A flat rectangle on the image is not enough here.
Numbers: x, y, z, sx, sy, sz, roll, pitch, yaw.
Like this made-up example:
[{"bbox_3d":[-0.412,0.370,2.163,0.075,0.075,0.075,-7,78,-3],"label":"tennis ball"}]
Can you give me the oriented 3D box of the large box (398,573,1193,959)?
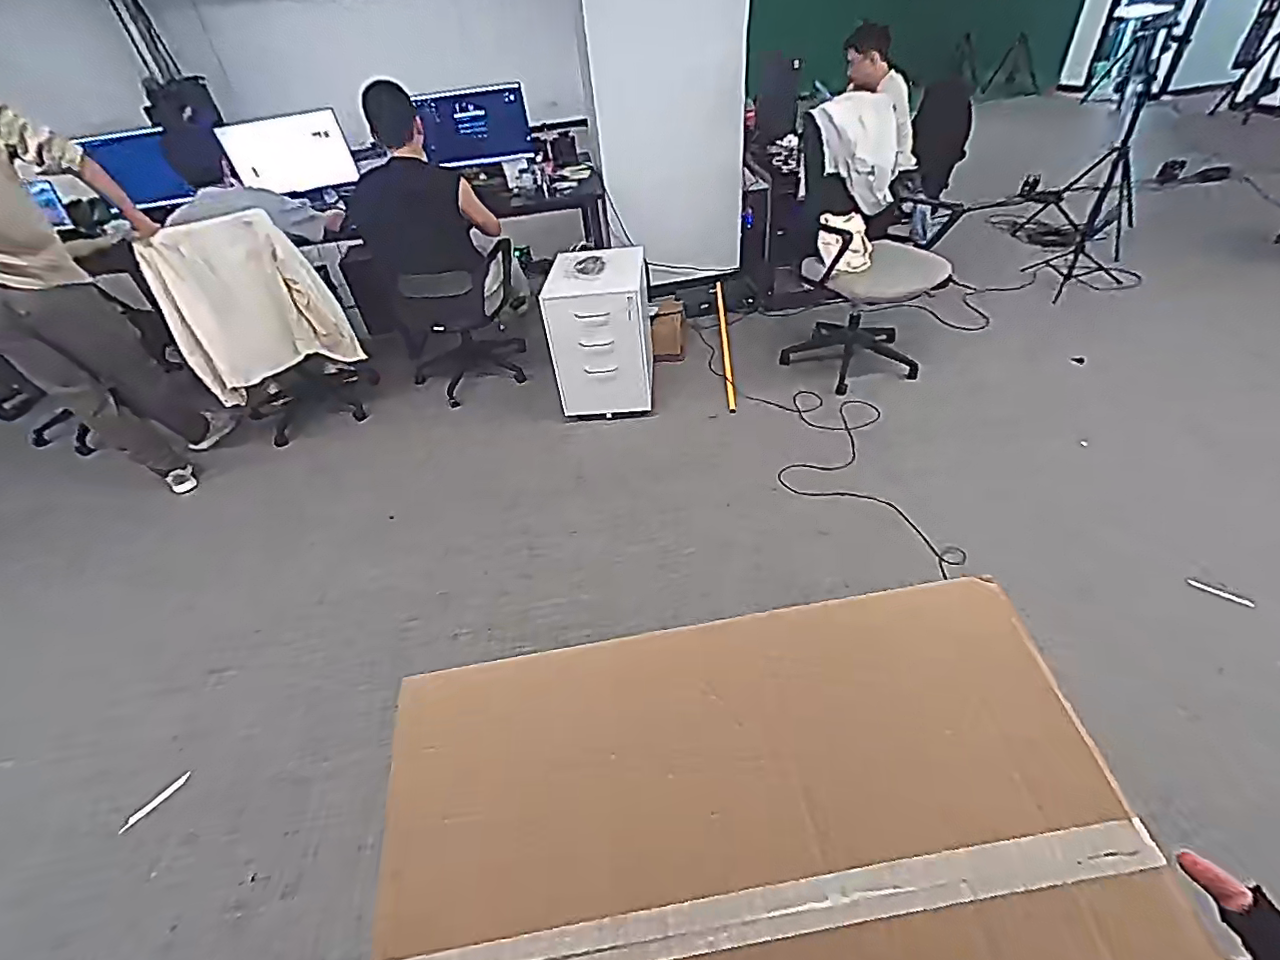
[{"bbox_3d":[0.076,0.310,0.411,0.408,0.320,0.320,-10,55,-1],"label":"large box"}]
